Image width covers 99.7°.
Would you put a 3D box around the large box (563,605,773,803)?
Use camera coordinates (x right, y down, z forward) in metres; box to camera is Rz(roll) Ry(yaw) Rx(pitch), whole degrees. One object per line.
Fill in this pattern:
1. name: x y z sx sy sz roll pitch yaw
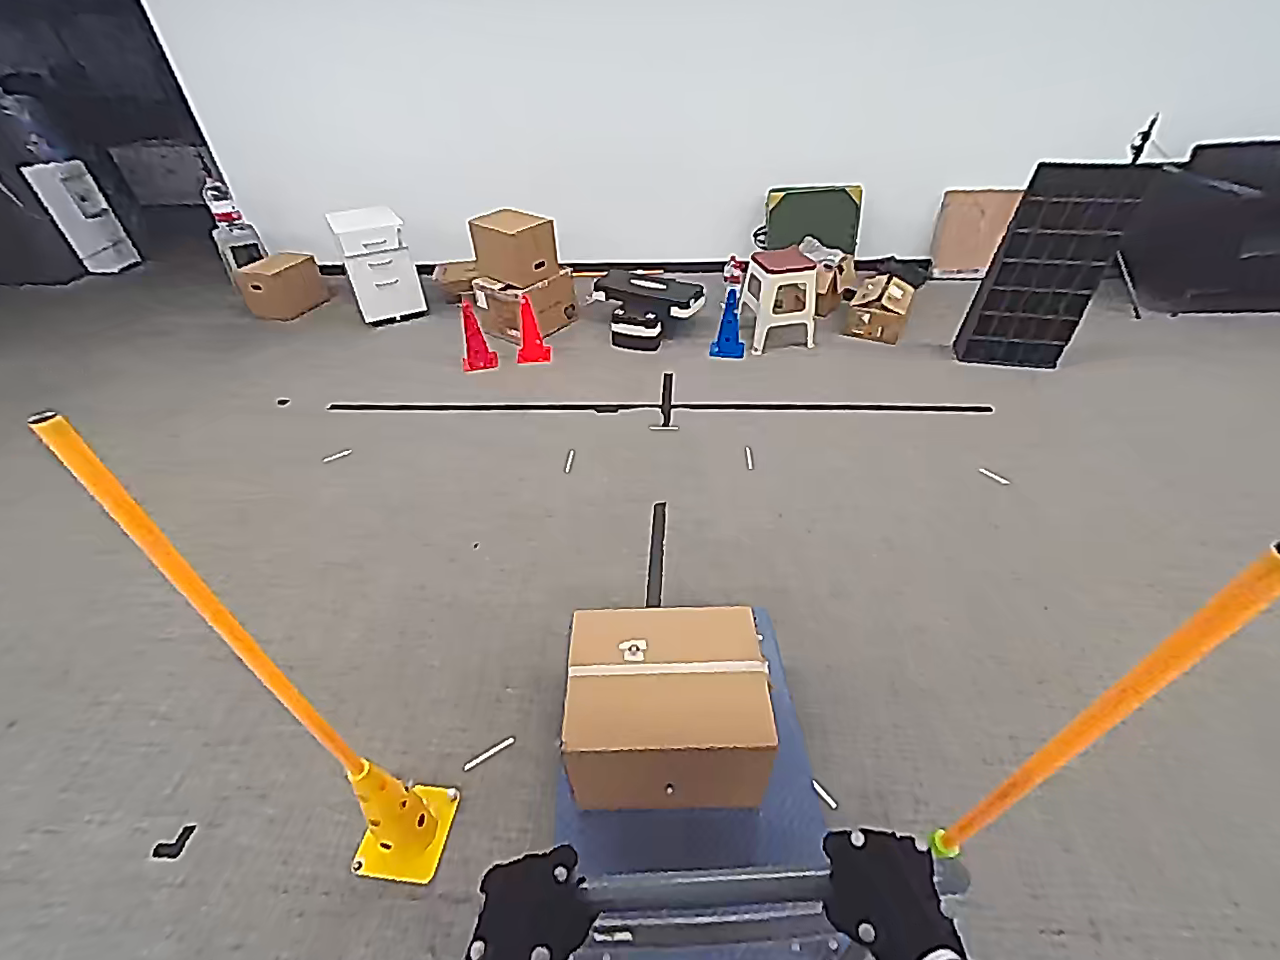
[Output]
1. large box: 0.059 0.506 1.221 0.408 0.320 0.320 -2 41 2

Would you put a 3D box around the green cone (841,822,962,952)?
1. green cone: 0.560 0.782 1.093 0.202 0.368 0.200 4 41 6
